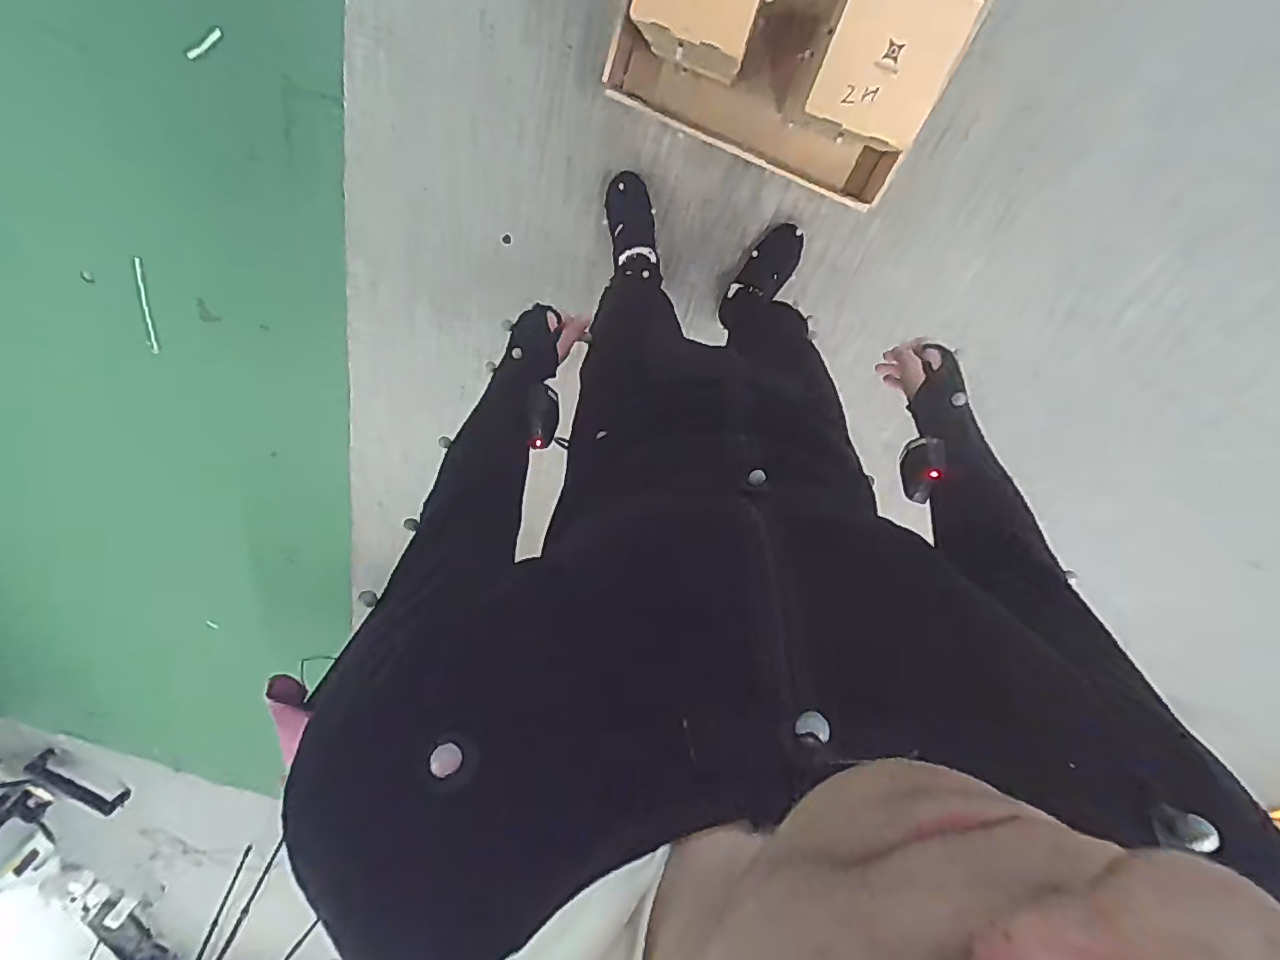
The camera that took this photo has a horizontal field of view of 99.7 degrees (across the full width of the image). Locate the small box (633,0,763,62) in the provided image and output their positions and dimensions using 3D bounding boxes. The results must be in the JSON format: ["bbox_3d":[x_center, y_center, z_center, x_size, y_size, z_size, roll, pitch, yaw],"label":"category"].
[{"bbox_3d":[0.101,-0.723,0.757,0.168,0.176,0.179,19,124,-3],"label":"small box"}]

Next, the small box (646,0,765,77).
[{"bbox_3d":[0.121,-0.807,0.894,0.168,0.176,0.179,20,122,-3],"label":"small box"}]

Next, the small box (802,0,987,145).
[{"bbox_3d":[0.348,-0.611,0.783,0.168,0.176,0.179,20,123,-2],"label":"small box"}]
